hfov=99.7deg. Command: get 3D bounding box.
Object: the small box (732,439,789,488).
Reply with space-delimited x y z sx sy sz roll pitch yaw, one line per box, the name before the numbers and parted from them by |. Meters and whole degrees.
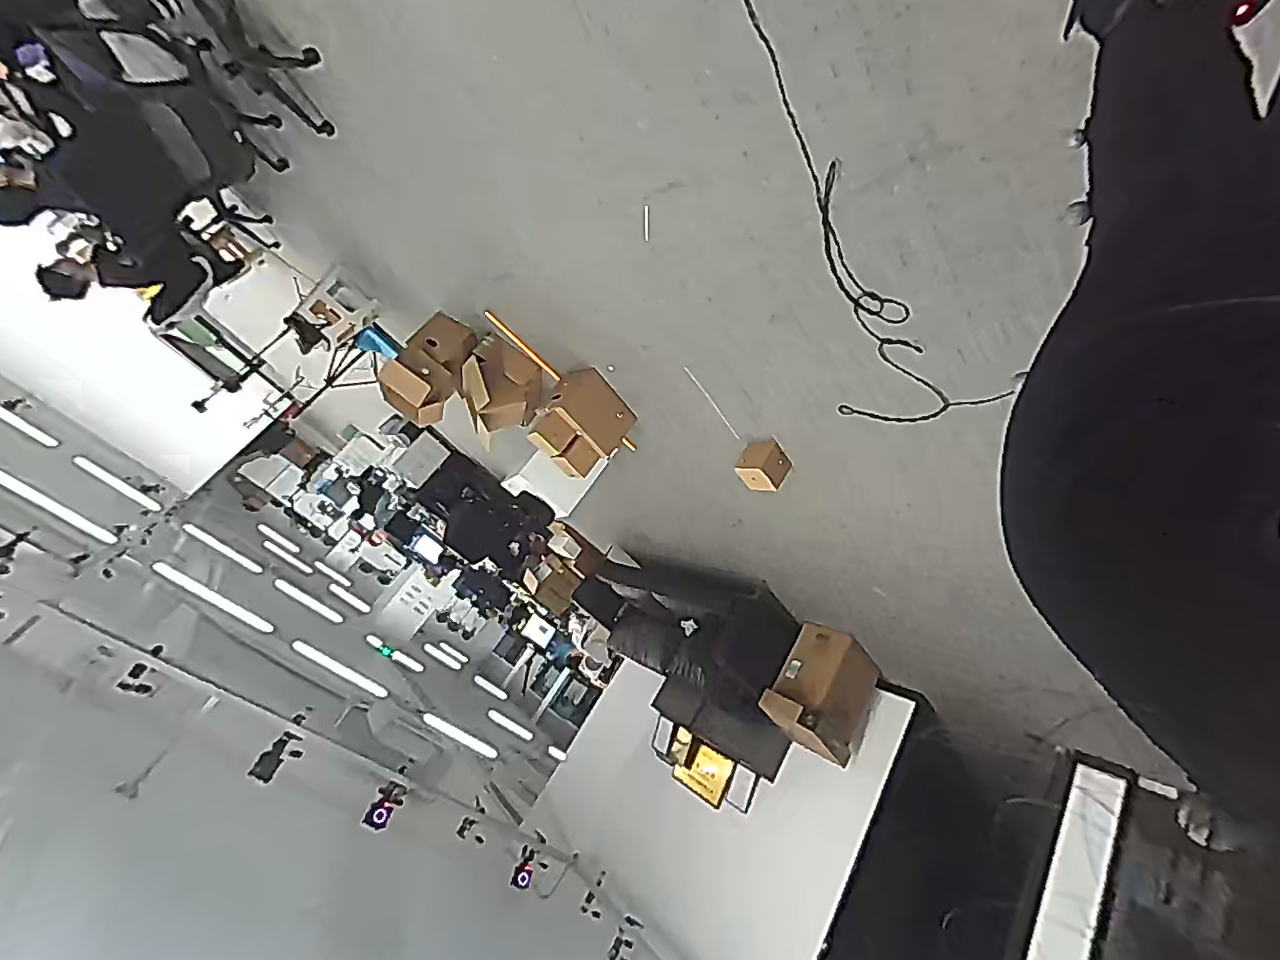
small box | 0.583 -0.082 2.595 0.168 0.176 0.179 46 156 -28
